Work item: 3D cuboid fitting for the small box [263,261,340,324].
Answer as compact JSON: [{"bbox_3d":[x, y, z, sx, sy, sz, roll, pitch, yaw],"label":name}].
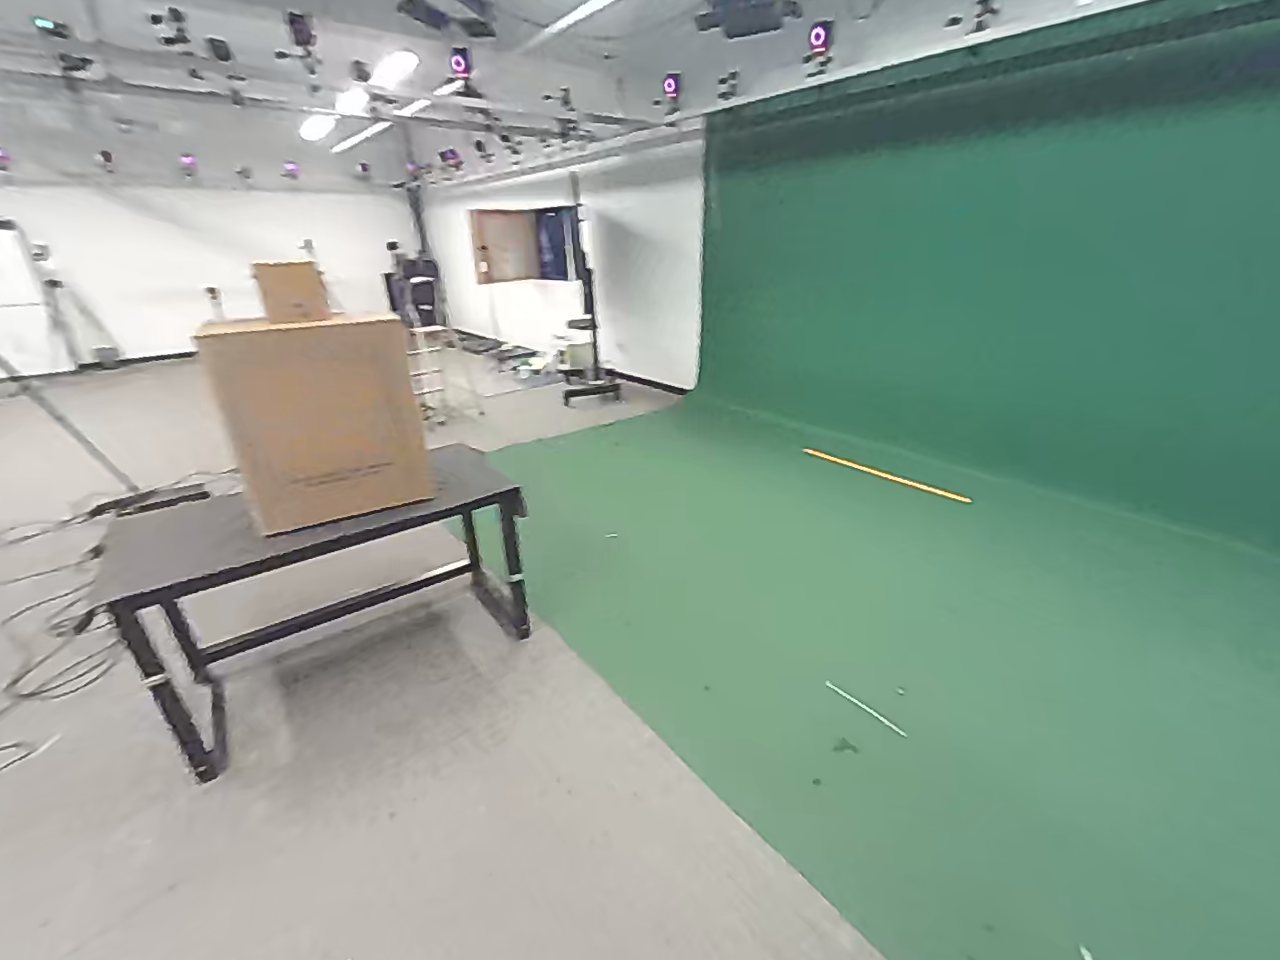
[{"bbox_3d":[-1.030,-0.573,1.650,0.168,0.176,0.179,-14,29,-27],"label":"small box"}]
